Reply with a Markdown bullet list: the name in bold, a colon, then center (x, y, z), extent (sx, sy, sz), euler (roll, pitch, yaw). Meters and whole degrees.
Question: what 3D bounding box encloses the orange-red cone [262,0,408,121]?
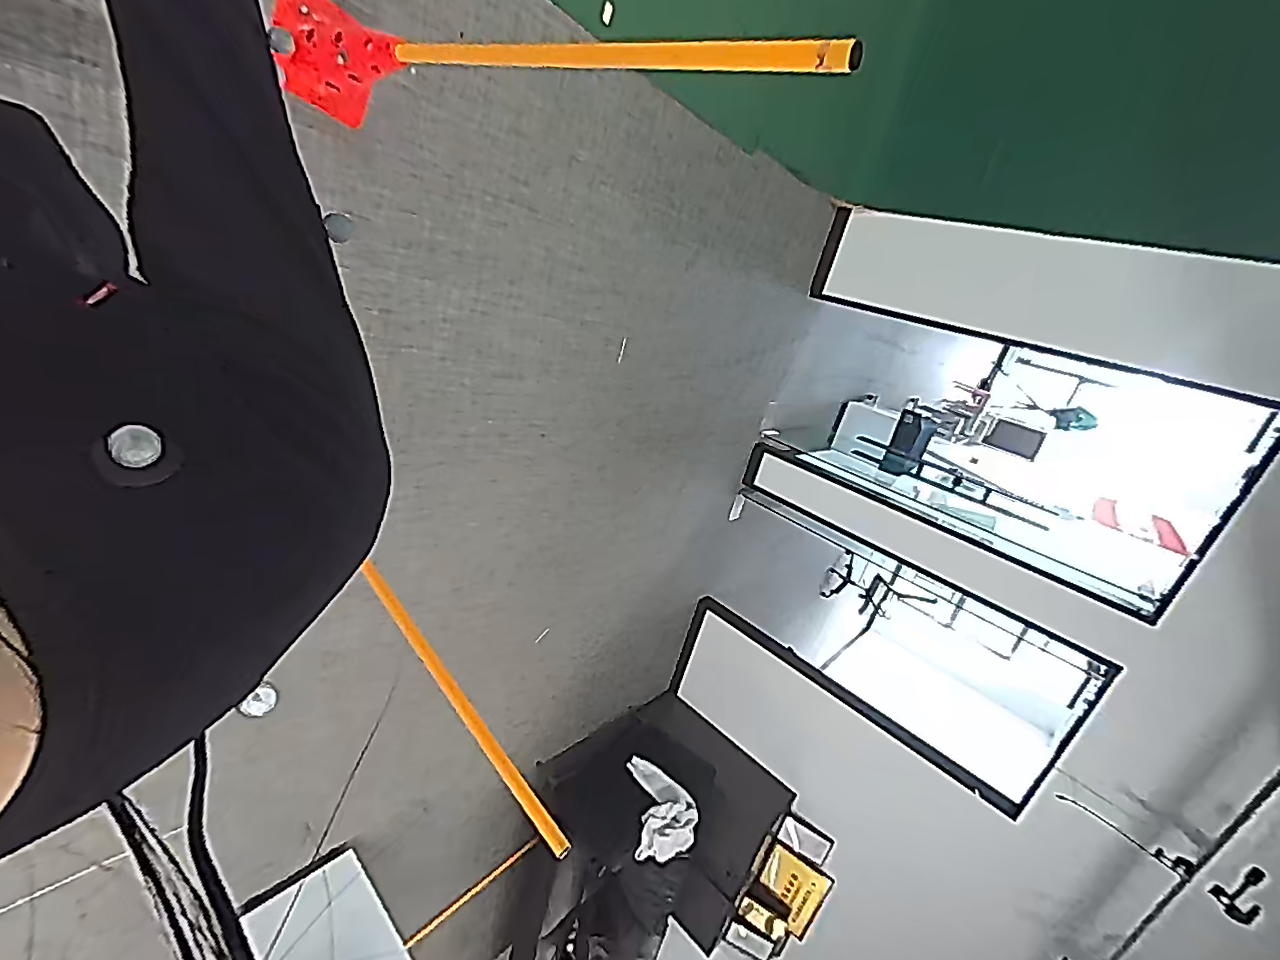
- **orange-red cone**: center (-0.548, -0.837, 1.050), extent (0.198, 0.360, 0.199), euler (9, 108, -54)
